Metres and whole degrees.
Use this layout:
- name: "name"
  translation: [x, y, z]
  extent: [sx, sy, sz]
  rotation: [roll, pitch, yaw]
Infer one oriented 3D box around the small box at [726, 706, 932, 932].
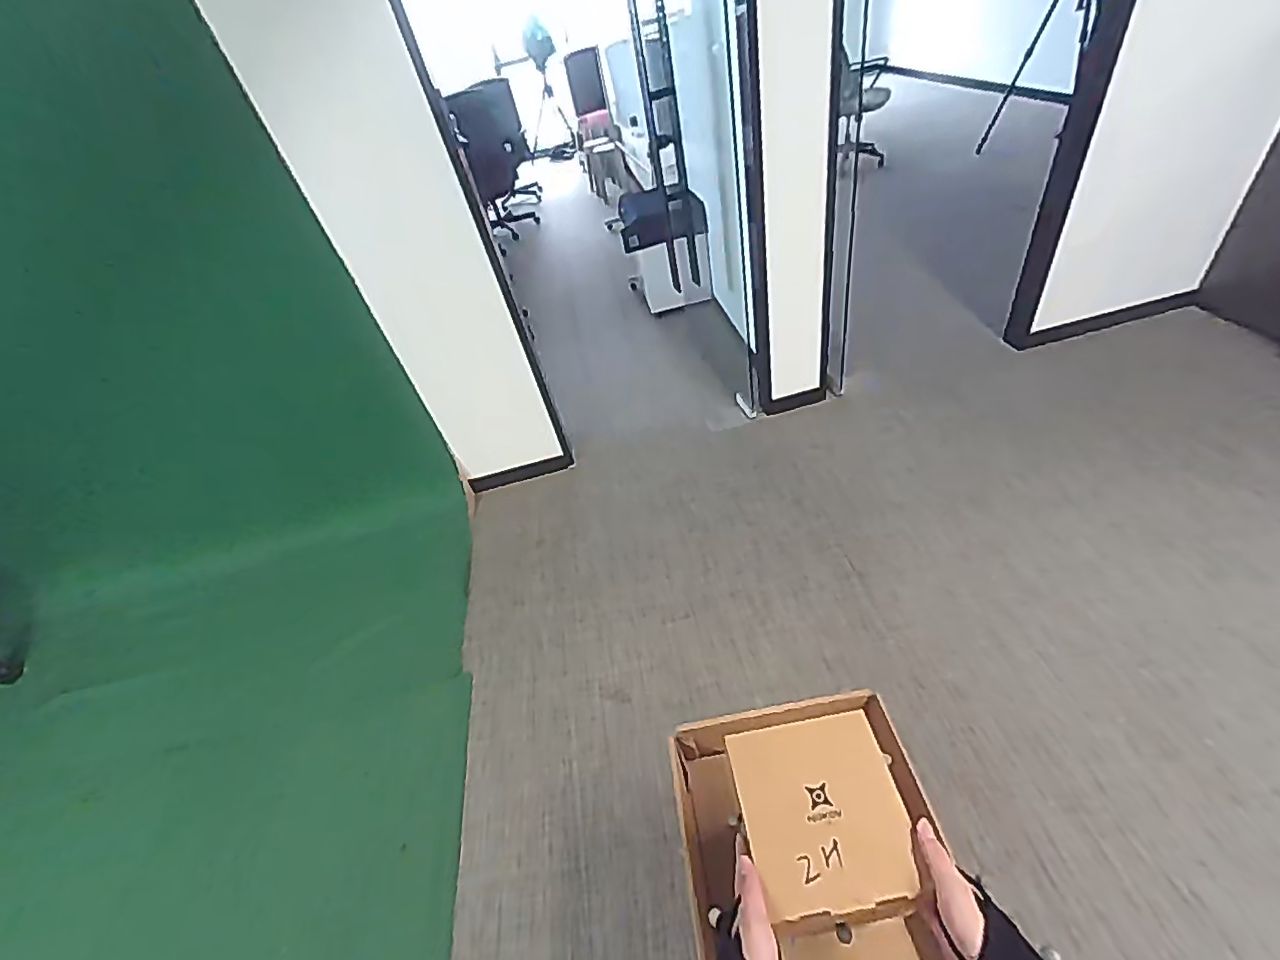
- name: "small box"
  translation: [0.198, 0.391, 0.624]
  extent: [0.168, 0.176, 0.179]
  rotation: [-11, 46, 2]
